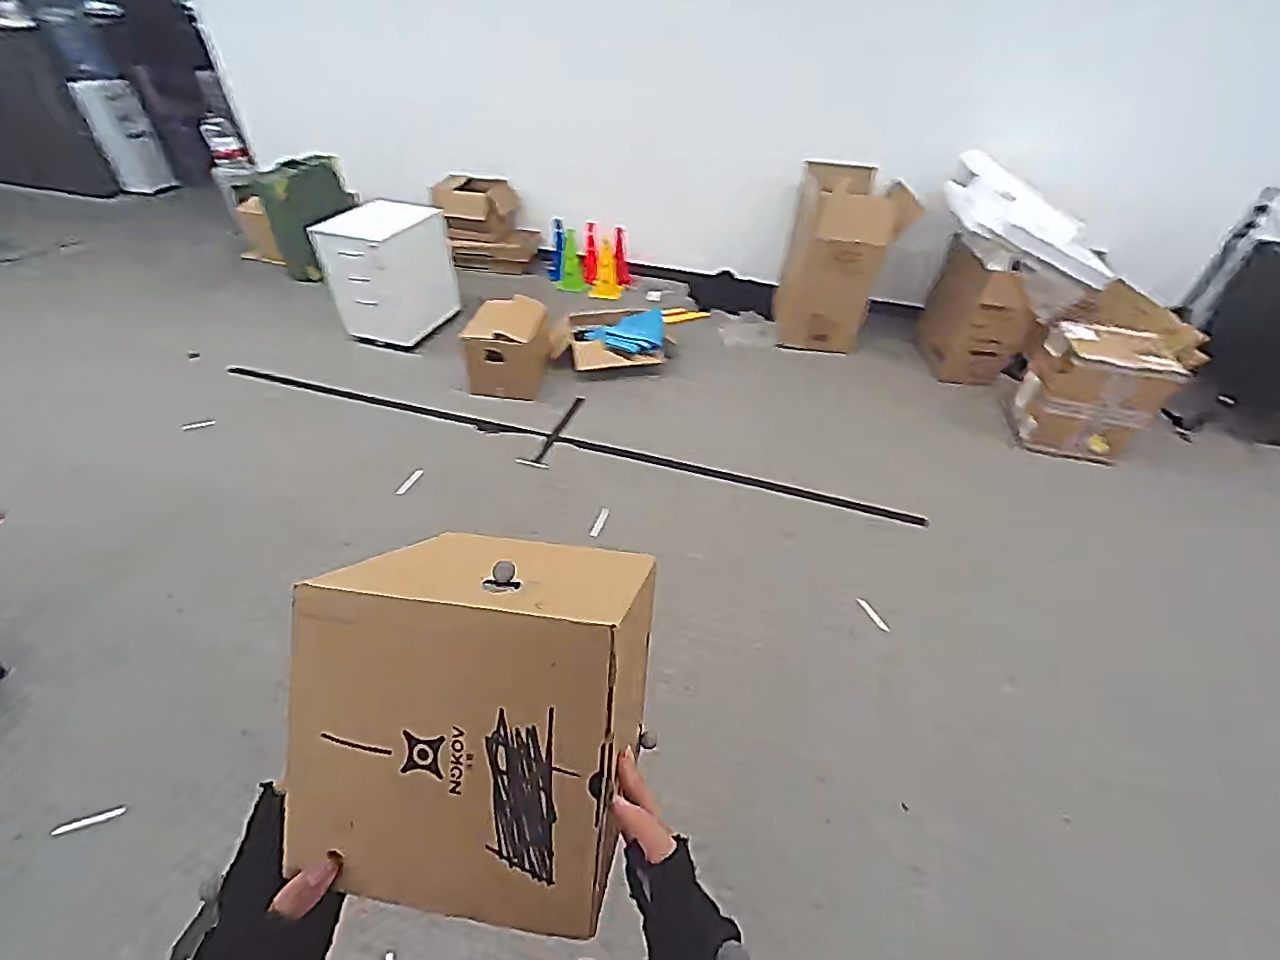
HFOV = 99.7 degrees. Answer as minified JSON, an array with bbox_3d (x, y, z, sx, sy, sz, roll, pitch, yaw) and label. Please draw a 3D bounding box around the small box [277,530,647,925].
[{"bbox_3d":[-0.094,0.130,0.355,0.179,0.168,0.176,5,4,8],"label":"small box"}]
